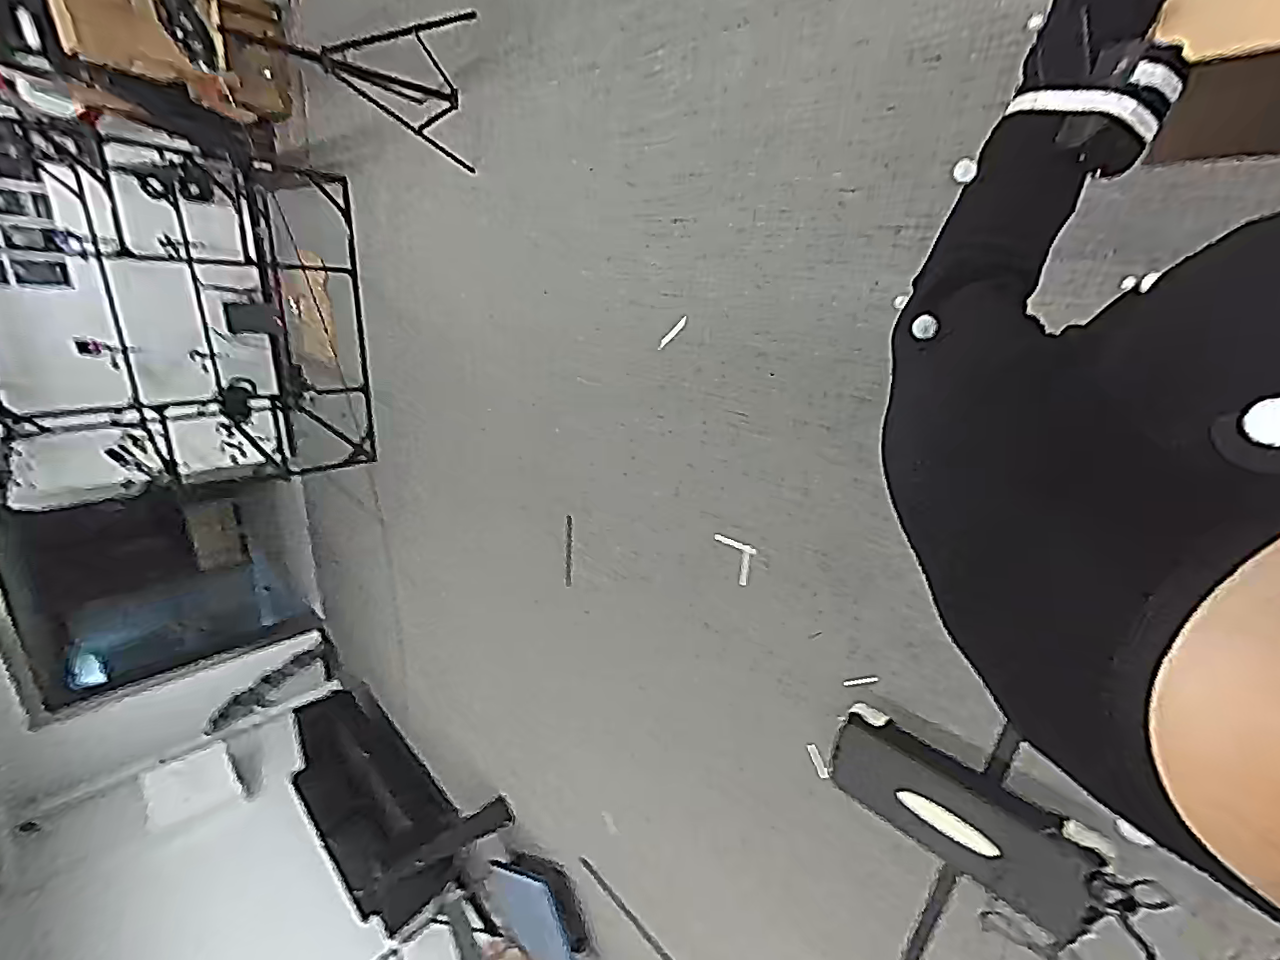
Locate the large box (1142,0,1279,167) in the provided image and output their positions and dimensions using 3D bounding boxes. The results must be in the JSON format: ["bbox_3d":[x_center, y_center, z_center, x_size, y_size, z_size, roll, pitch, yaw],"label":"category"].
[{"bbox_3d":[0.593,-0.407,0.306,0.408,0.320,0.320,18,113,38],"label":"large box"}]
